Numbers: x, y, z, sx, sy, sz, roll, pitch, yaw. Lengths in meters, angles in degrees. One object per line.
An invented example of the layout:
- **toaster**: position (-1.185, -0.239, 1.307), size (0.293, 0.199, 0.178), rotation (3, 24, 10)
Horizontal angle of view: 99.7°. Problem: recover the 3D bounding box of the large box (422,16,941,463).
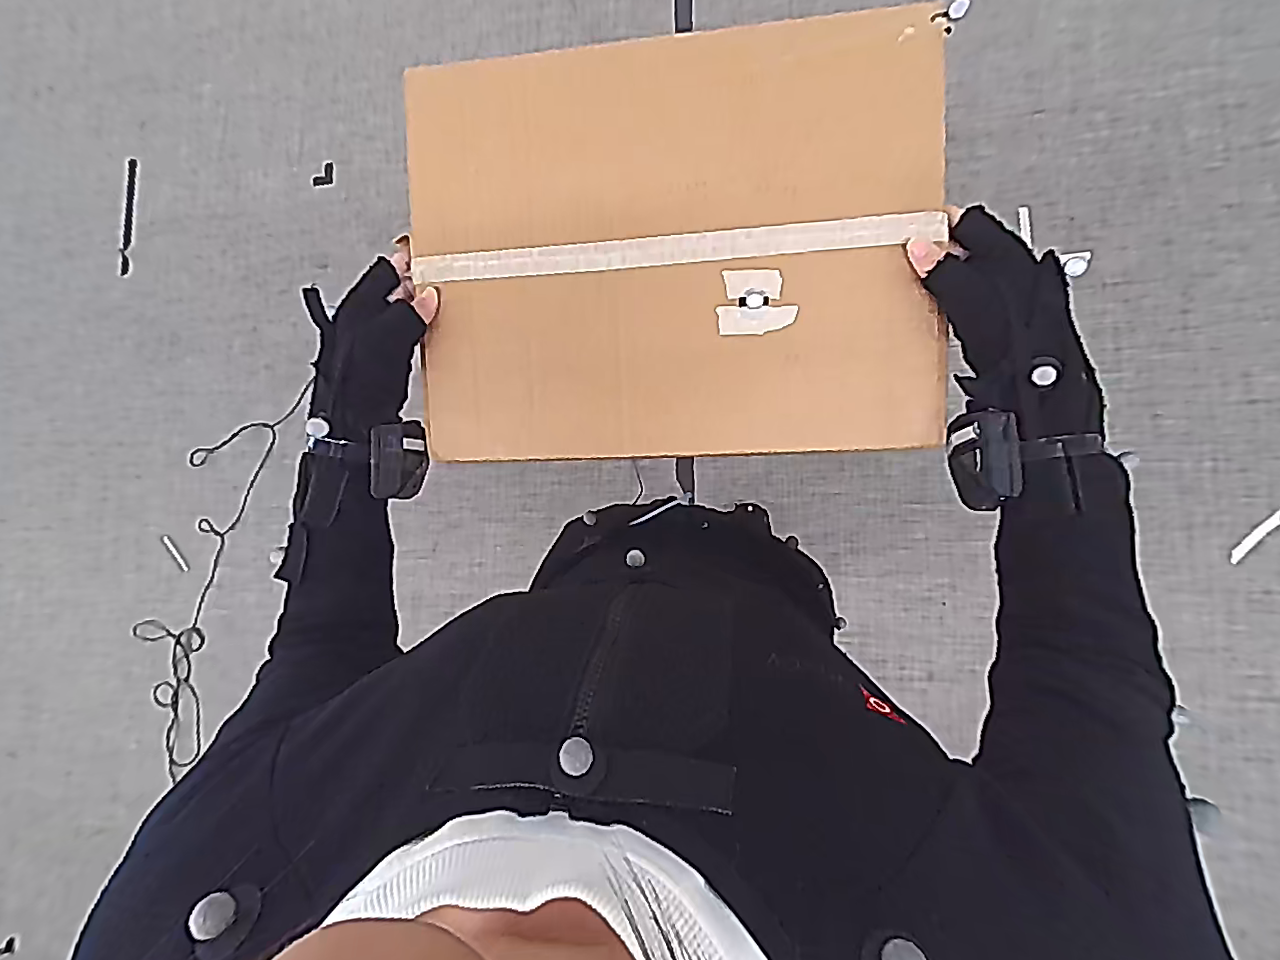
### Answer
- **large box**: position (0.040, -0.187, 0.574), size (0.408, 0.320, 0.320), rotation (-2, 94, 7)
